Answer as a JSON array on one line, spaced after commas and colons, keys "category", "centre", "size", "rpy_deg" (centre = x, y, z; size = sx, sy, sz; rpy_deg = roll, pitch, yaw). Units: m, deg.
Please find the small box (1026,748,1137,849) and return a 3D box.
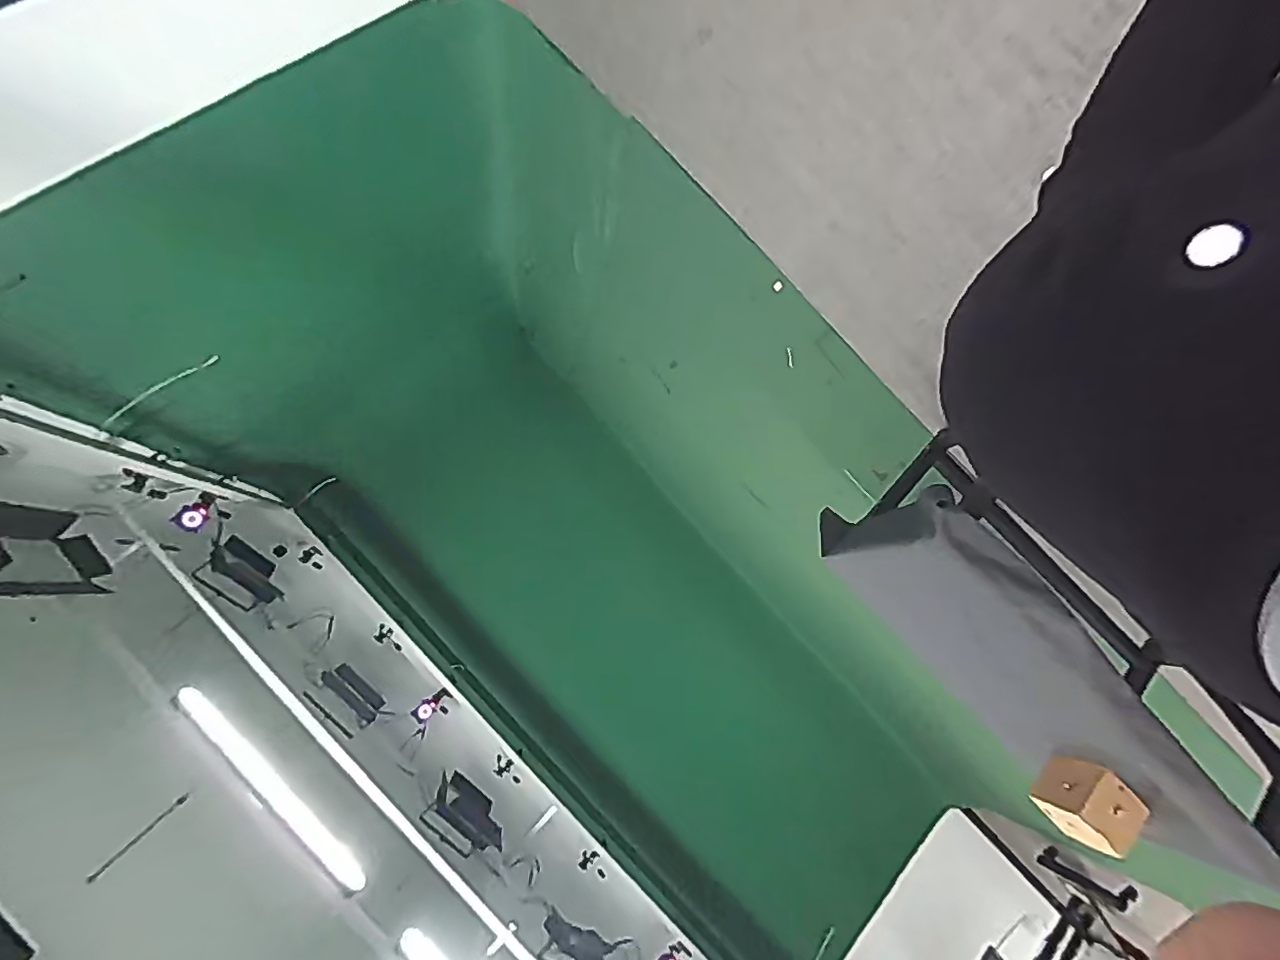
[{"category": "small box", "centre": [1.303, 0.924, 1.590], "size": [0.168, 0.176, 0.179], "rpy_deg": [46, 164, 3]}]
